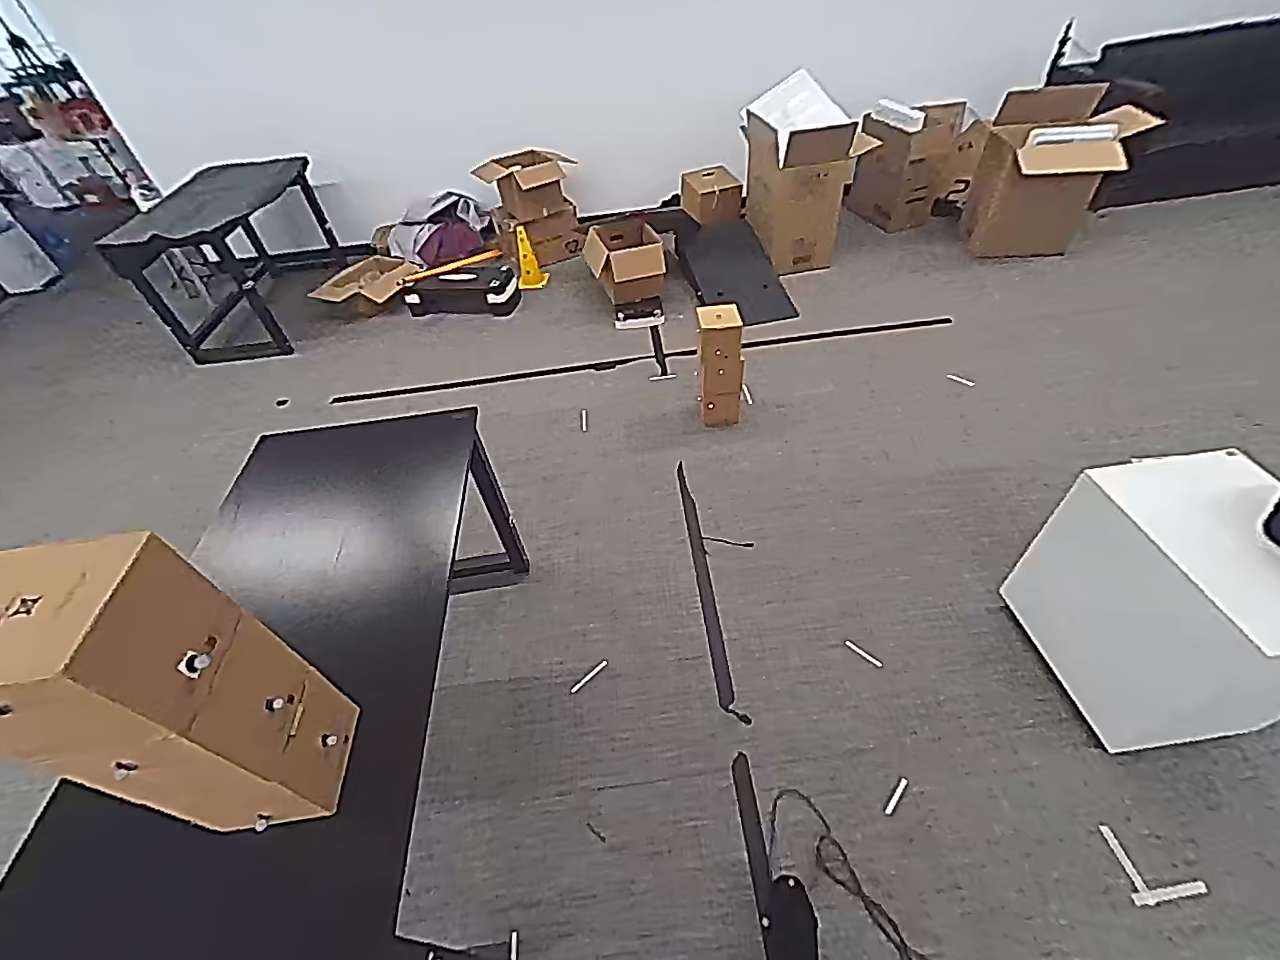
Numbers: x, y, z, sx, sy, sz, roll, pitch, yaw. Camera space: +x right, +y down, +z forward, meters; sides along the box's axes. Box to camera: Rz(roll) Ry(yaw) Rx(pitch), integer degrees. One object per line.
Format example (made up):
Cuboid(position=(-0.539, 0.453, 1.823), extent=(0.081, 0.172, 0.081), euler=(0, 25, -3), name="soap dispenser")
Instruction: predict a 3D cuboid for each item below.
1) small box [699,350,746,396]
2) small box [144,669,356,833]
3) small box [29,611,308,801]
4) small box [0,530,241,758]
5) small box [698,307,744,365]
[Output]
Cuboid(position=(0.356, -0.485, 2.367), extent=(0.179, 0.176, 0.168), euler=(-6, 45, -1), name="small box")
Cuboid(position=(-0.563, 0.409, 0.815), extent=(0.179, 0.176, 0.168), euler=(-8, 45, -2), name="small box")
Cuboid(position=(-0.578, 0.294, 0.697), extent=(0.179, 0.176, 0.168), euler=(-8, 46, -2), name="small box")
Cuboid(position=(-0.591, 0.180, 0.582), extent=(0.179, 0.176, 0.168), euler=(-8, 47, -2), name="small box")
Cuboid(position=(0.333, -0.602, 2.256), extent=(0.168, 0.176, 0.179), euler=(-5, 46, 0), name="small box")
